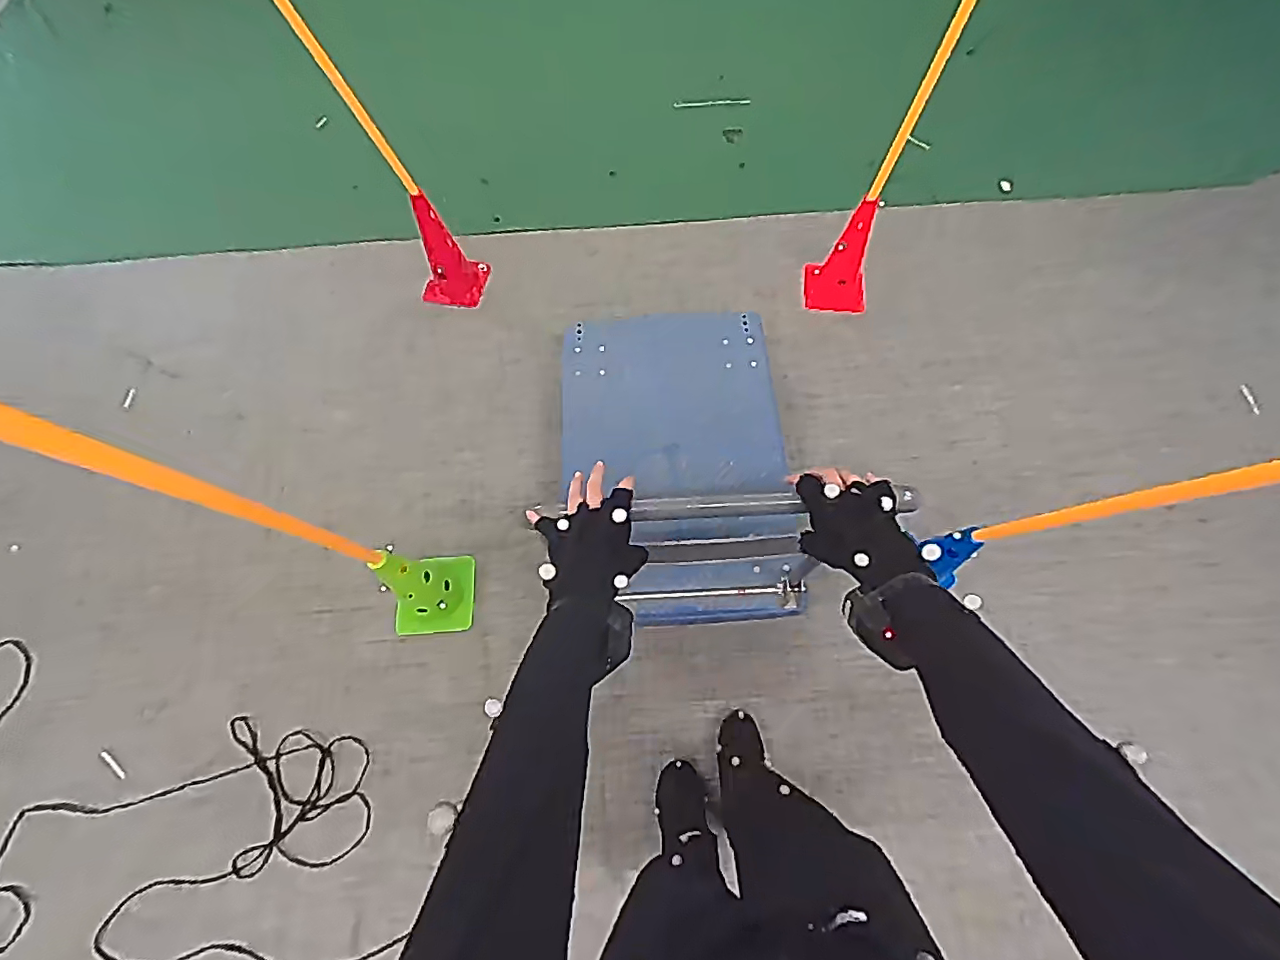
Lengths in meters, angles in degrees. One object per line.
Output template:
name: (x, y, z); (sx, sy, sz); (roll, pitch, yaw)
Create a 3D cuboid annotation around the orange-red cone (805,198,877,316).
orange-red cone: (0.654, -0.705, 1.675); (0.198, 0.360, 0.199); (6, 67, 5)
